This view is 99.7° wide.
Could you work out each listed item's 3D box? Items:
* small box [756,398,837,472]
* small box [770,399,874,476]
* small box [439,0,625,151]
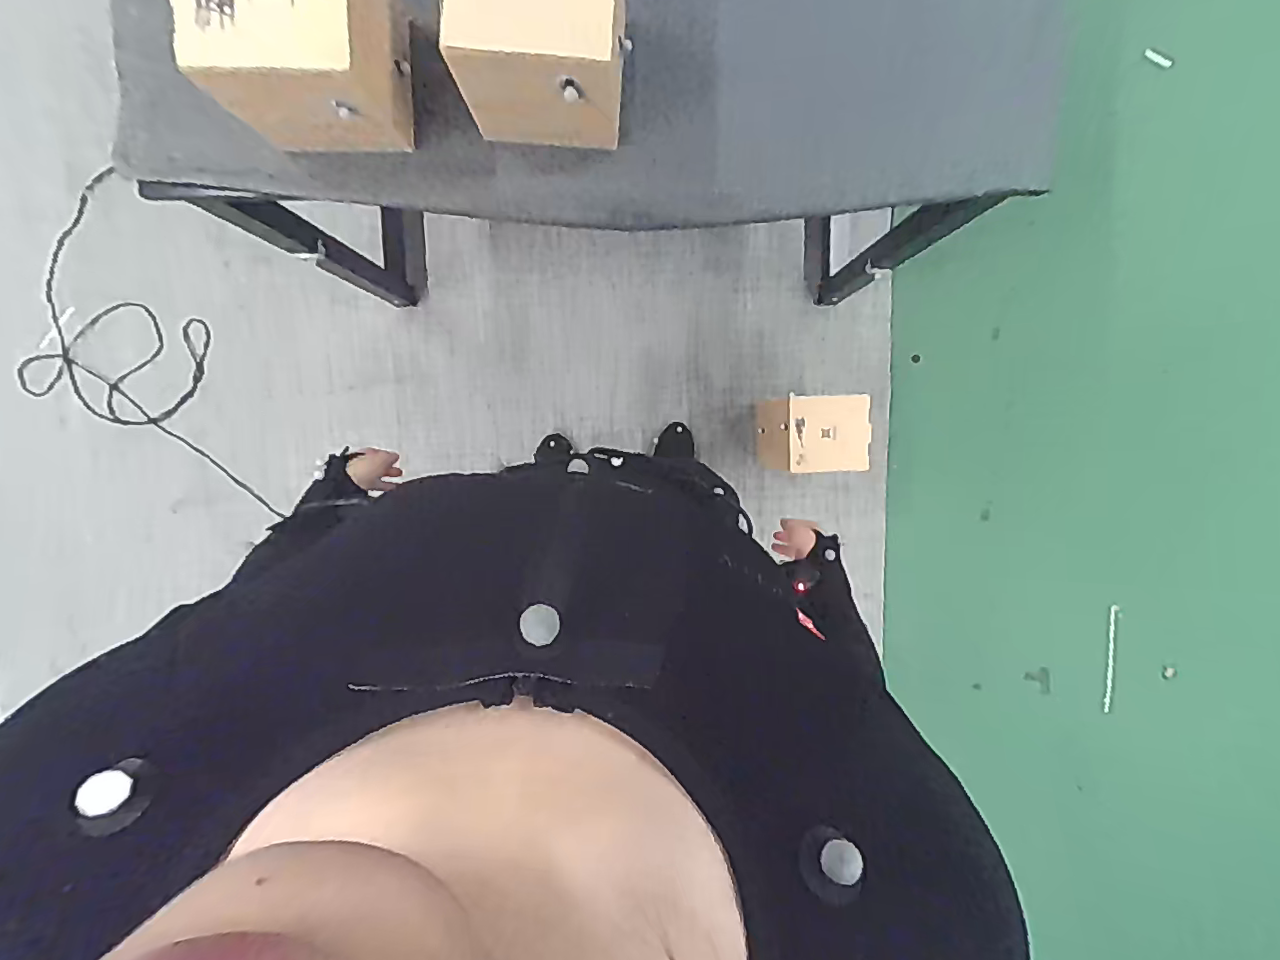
[{"bbox_3d":[0.399,-0.117,1.392,0.168,0.176,0.179,-3,95,0],"label":"small box"},{"bbox_3d":[0.405,-0.099,1.228,0.179,0.176,0.168,0,97,-1],"label":"small box"},{"bbox_3d":[-0.110,-0.507,0.619,0.179,0.176,0.168,4,93,0],"label":"small box"}]
